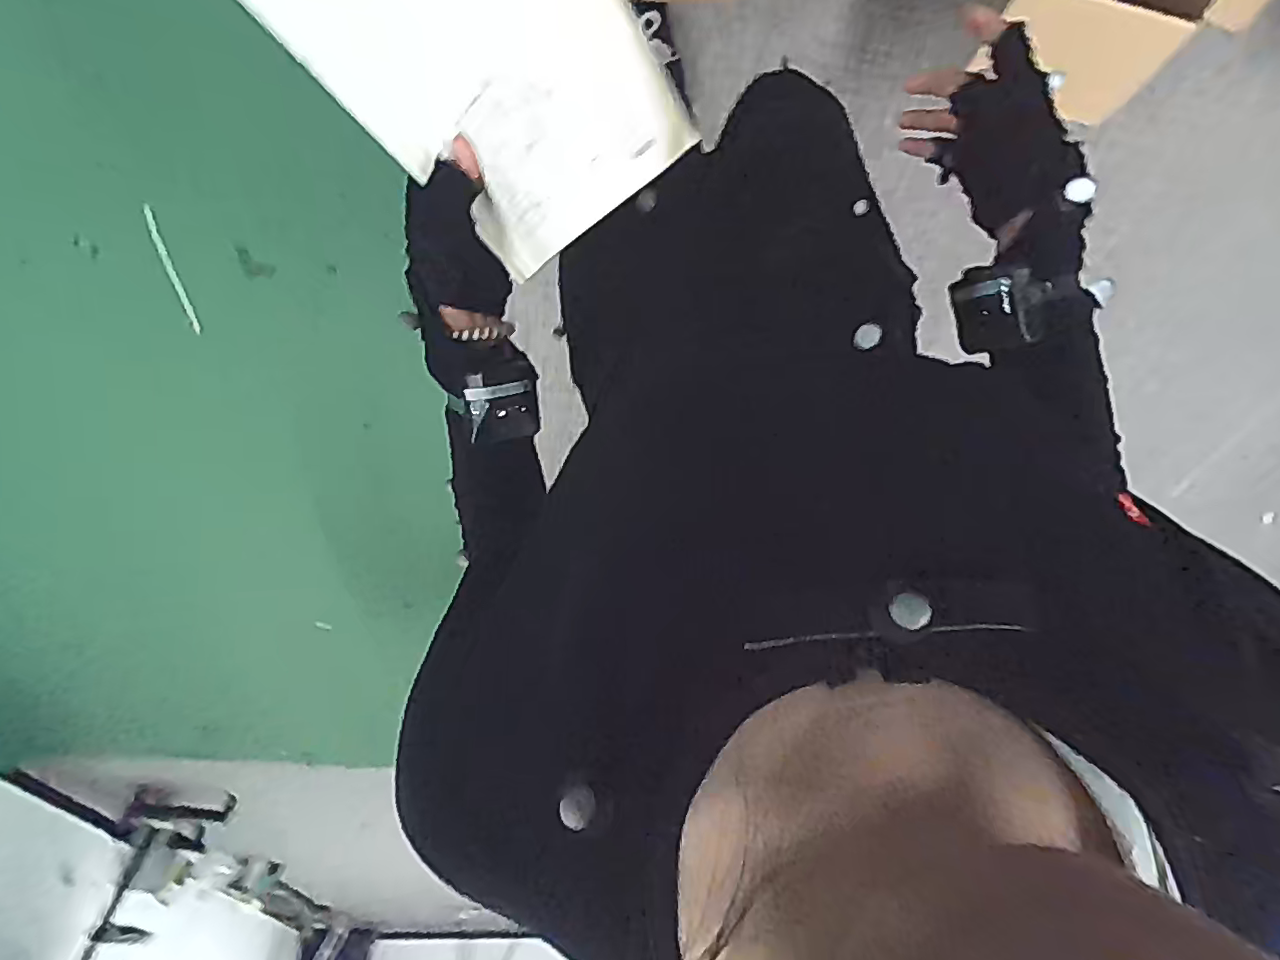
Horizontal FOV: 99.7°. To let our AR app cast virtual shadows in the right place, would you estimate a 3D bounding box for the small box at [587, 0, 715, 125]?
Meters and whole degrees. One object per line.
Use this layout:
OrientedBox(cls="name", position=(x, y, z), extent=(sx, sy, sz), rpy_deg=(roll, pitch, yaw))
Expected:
OrientedBox(cls="small box", position=(0.016, -0.806, 1.008), extent=(0.179, 0.176, 0.168), rpy_deg=(27, 139, -6))
